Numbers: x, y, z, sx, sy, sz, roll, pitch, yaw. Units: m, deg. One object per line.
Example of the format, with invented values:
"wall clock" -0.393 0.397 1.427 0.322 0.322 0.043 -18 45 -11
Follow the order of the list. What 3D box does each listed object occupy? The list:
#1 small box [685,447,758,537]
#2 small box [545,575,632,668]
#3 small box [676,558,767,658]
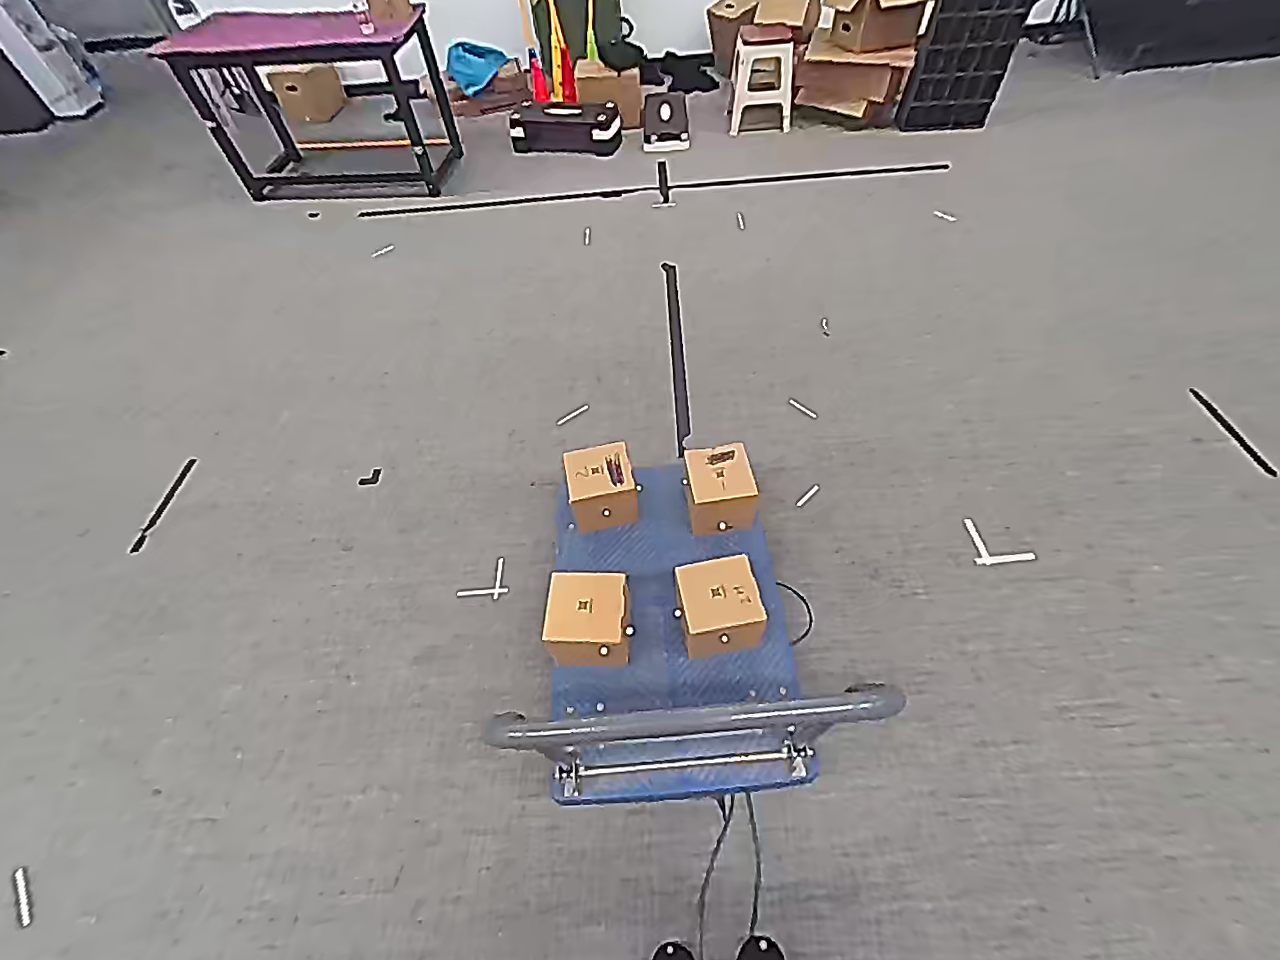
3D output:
"small box" 0.217 0.035 1.487 0.168 0.176 0.179 -8 54 -1
"small box" -0.115 0.340 1.289 0.179 0.176 0.168 0 53 3
"small box" 0.187 0.309 1.285 0.179 0.176 0.168 -10 53 -3
